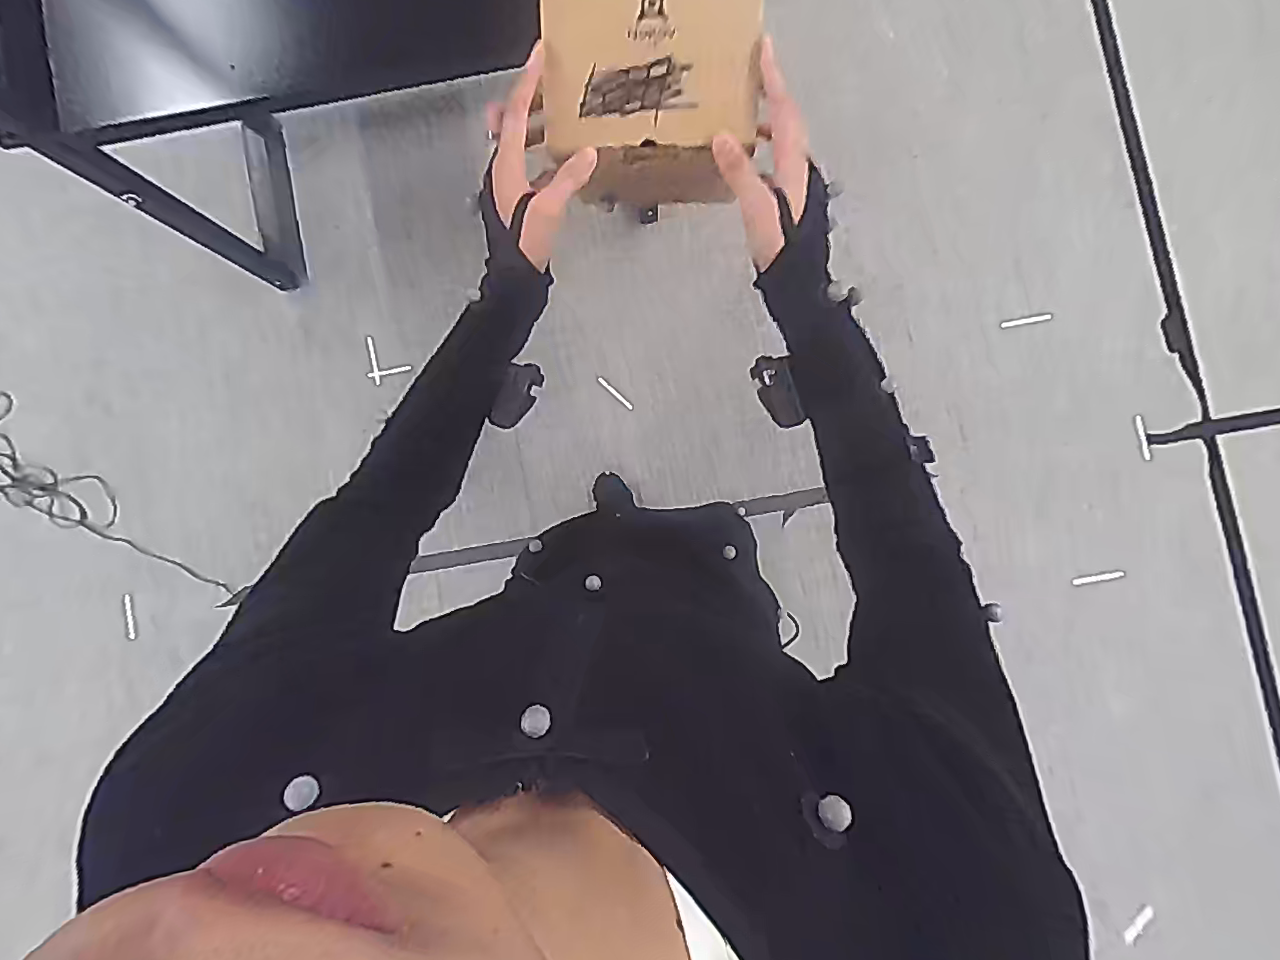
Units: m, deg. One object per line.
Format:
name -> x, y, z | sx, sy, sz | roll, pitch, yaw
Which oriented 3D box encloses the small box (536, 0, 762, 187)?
small box -> 0.012, -0.364, 0.464 | 0.168, 0.176, 0.179 | 1, 105, 4
